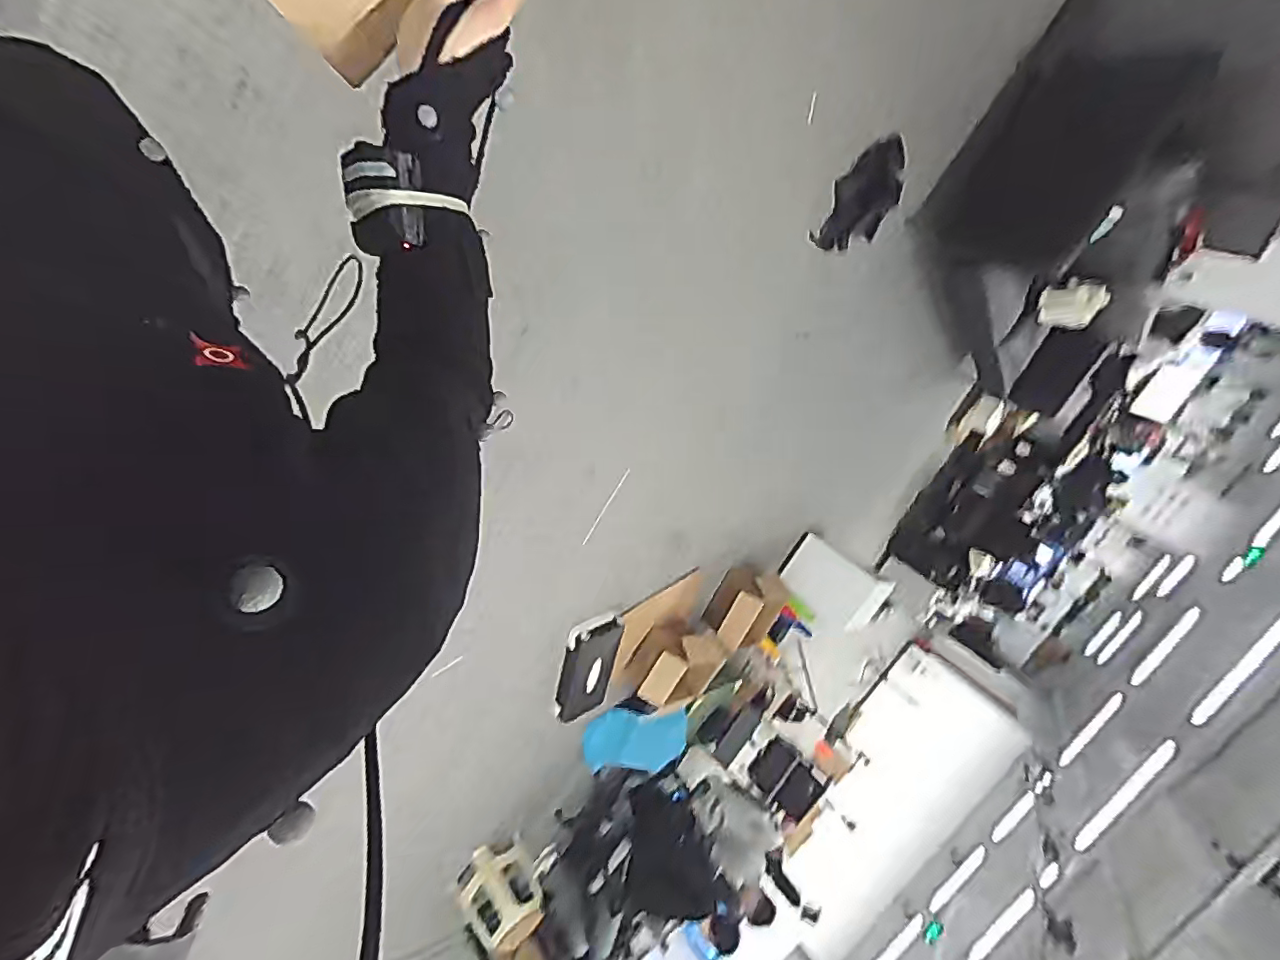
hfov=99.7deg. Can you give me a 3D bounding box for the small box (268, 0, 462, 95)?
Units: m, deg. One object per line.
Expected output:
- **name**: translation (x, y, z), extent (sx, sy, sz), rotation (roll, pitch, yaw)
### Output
- **small box**: translation (-0.199, -0.406, 0.343), extent (0.168, 0.176, 0.179), rotation (-35, 143, 14)
